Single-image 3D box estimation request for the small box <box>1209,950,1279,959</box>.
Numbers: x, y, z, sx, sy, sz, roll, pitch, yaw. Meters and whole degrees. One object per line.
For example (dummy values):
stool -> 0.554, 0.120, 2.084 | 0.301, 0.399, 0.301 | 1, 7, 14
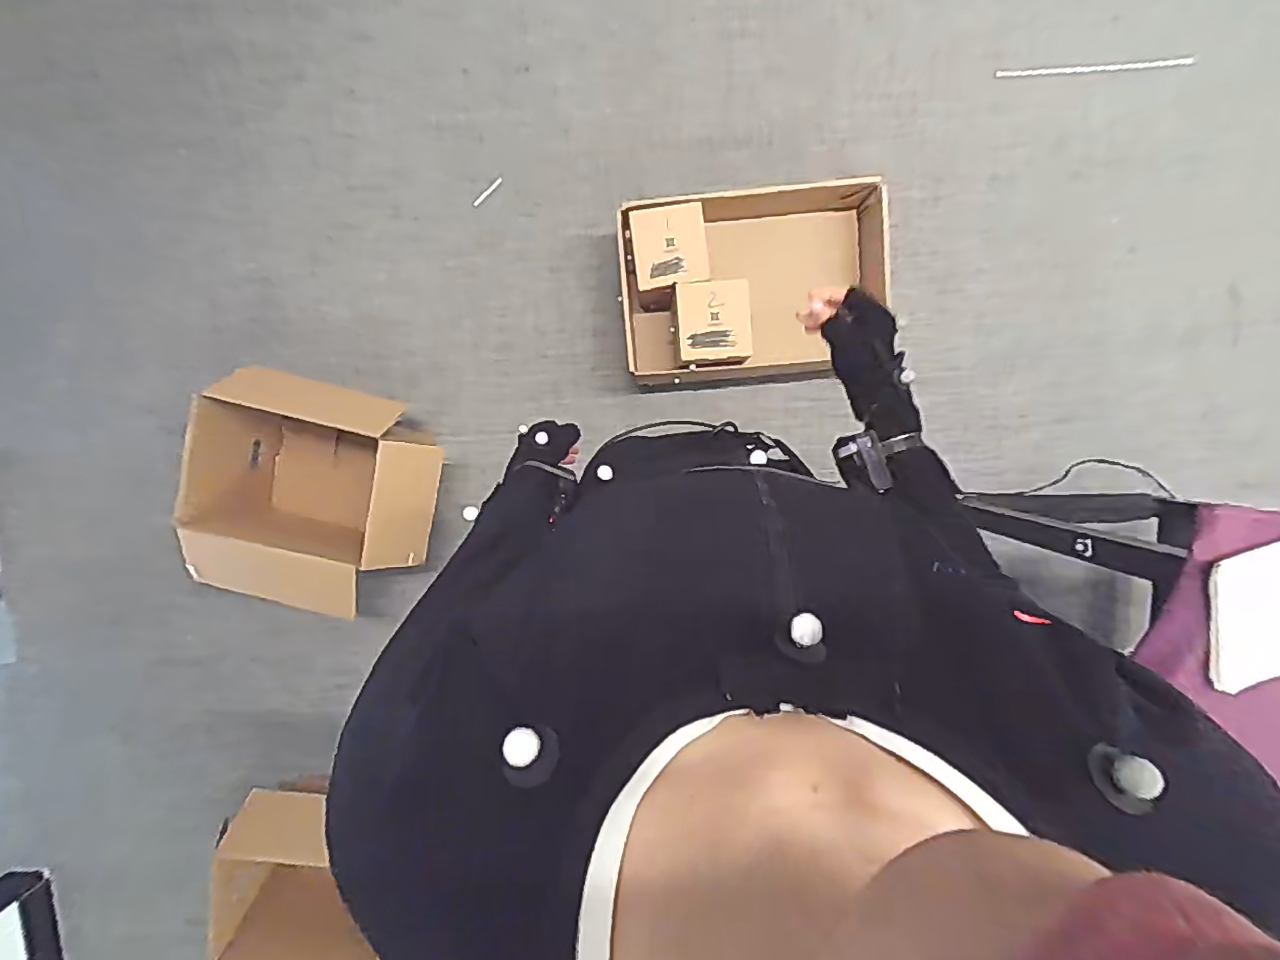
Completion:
small box -> 0.901, 0.768, 0.706 | 0.179, 0.176, 0.168 | 4, 95, 1
